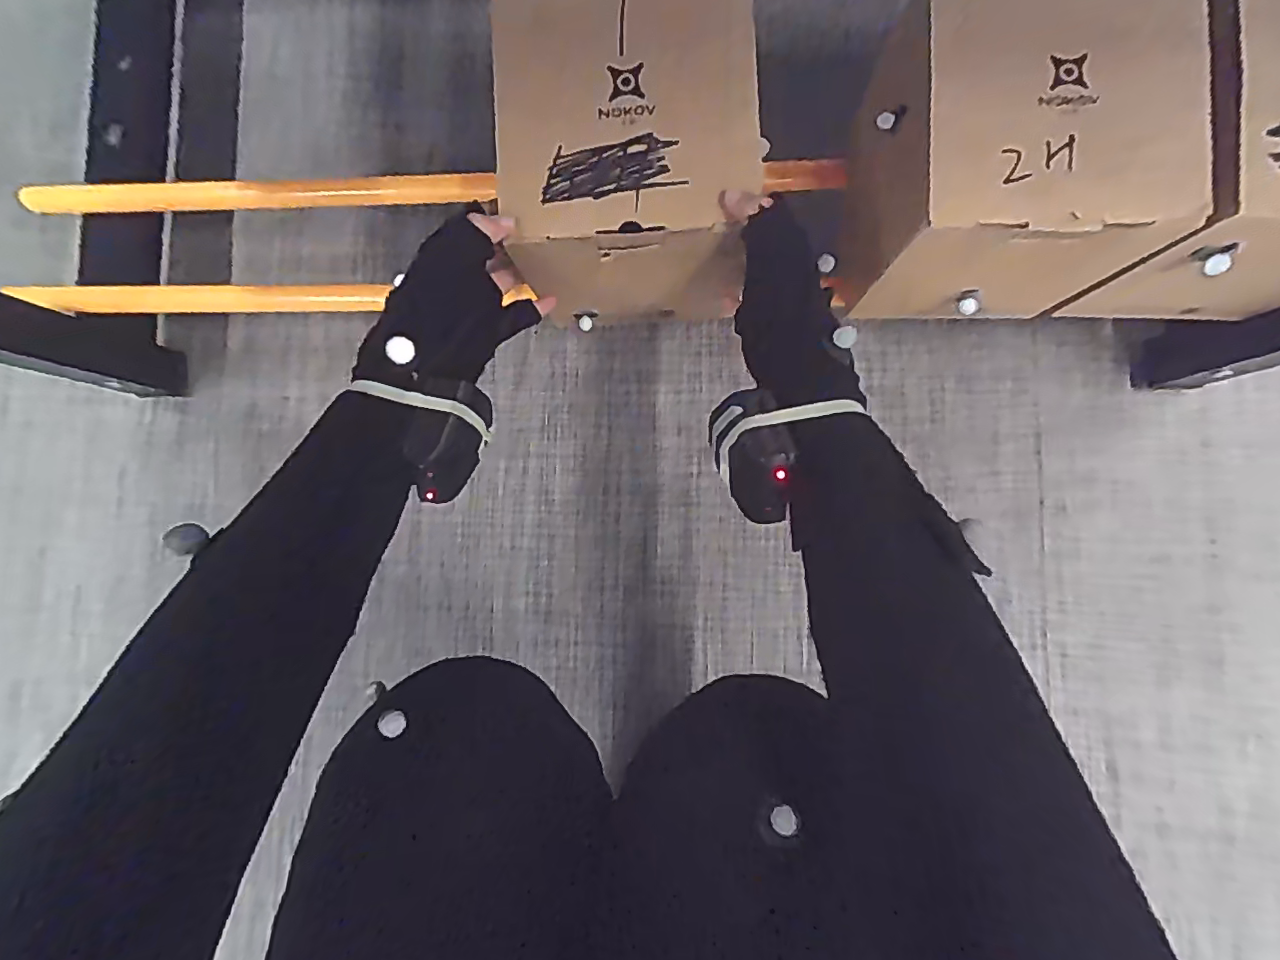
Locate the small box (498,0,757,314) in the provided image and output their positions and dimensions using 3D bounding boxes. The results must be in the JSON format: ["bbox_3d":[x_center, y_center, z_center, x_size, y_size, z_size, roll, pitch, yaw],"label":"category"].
[{"bbox_3d":[-0.004,-0.240,0.424,0.168,0.176,0.179,-2,86,3],"label":"small box"}]
